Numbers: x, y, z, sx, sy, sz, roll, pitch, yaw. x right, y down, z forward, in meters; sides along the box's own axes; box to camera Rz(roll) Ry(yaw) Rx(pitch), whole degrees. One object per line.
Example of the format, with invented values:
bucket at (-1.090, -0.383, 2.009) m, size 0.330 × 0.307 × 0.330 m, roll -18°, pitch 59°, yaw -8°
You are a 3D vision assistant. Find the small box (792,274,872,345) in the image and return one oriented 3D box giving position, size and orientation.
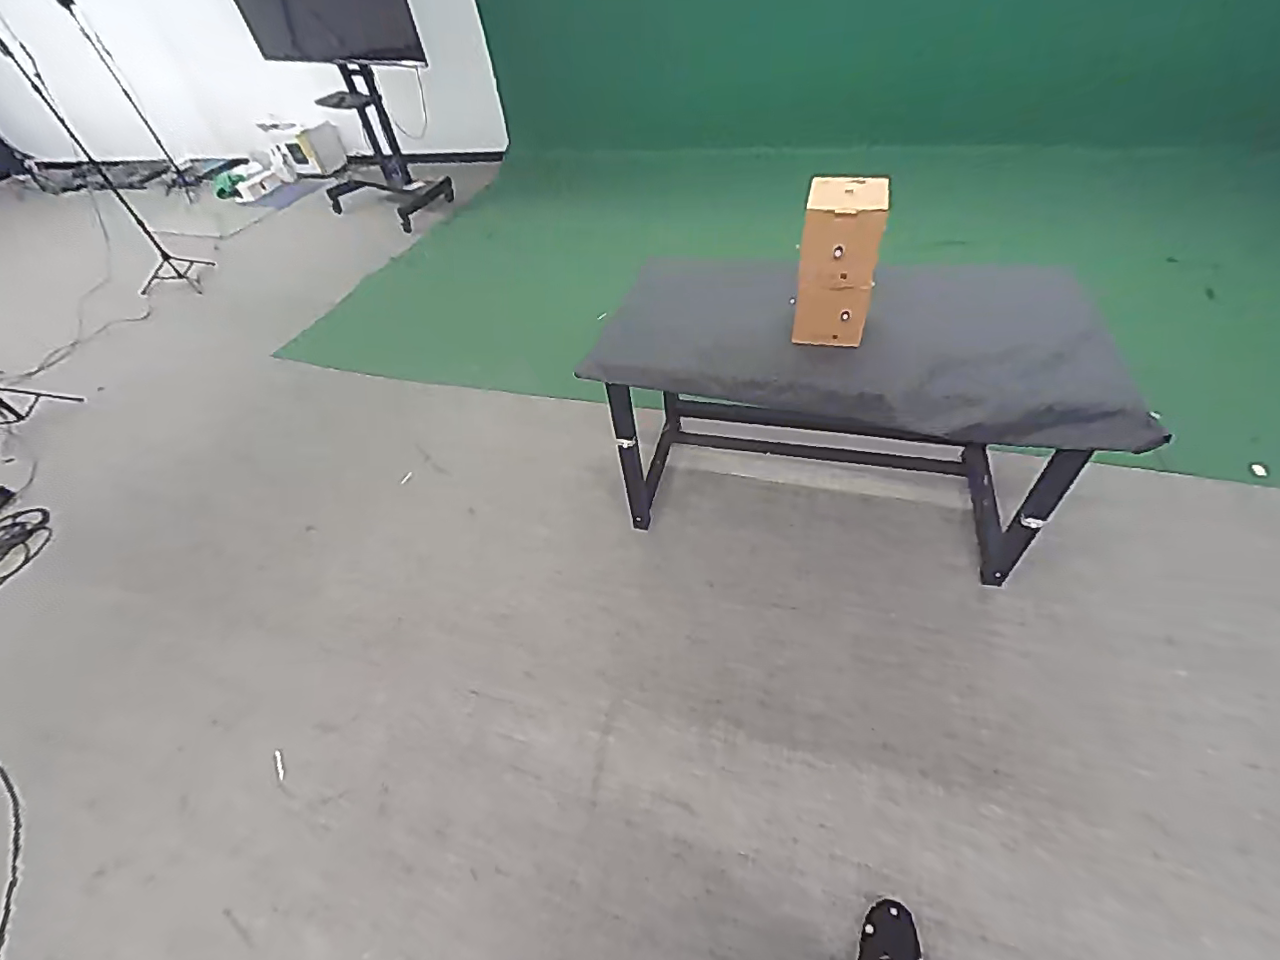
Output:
small box at (0.482, -0.459, 1.362) m, size 0.168 × 0.176 × 0.179 m, roll 9°, pitch 49°, yaw 14°

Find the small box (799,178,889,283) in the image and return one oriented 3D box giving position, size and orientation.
small box at (0.465, -0.572, 1.244) m, size 0.168 × 0.176 × 0.179 m, roll 10°, pitch 52°, yaw 14°
